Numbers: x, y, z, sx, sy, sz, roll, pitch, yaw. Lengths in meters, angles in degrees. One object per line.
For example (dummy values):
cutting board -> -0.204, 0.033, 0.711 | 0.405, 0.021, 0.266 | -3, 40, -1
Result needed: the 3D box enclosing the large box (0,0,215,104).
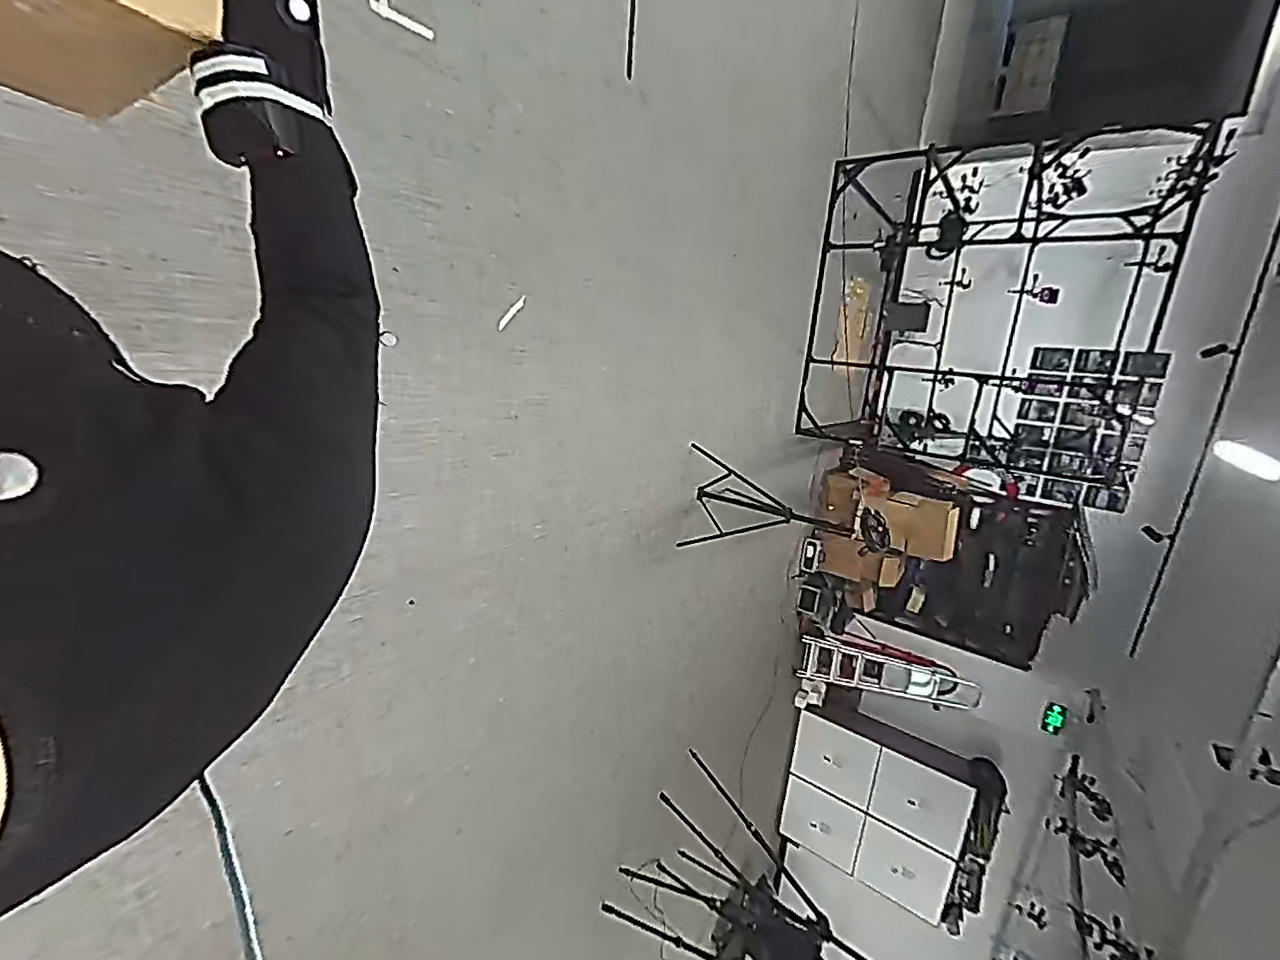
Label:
large box -> -0.514, -0.477, 0.273 | 0.408, 0.320, 0.320 | -6, 107, -55
